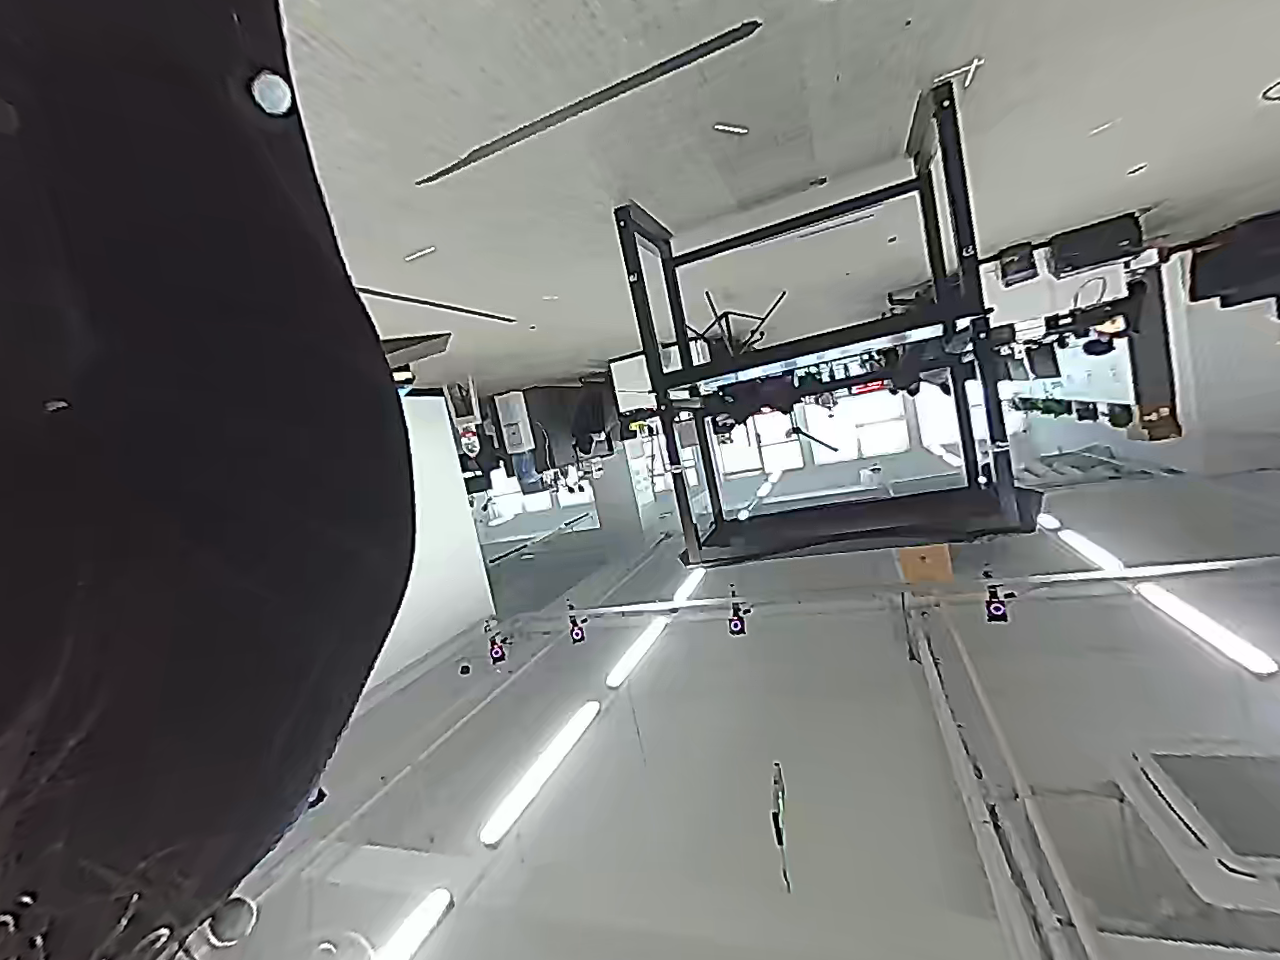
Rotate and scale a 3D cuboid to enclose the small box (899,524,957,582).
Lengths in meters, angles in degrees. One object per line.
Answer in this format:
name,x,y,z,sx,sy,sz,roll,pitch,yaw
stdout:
small box,1.088,0.275,2.051,0.168,0.176,0.179,-9,-173,26
